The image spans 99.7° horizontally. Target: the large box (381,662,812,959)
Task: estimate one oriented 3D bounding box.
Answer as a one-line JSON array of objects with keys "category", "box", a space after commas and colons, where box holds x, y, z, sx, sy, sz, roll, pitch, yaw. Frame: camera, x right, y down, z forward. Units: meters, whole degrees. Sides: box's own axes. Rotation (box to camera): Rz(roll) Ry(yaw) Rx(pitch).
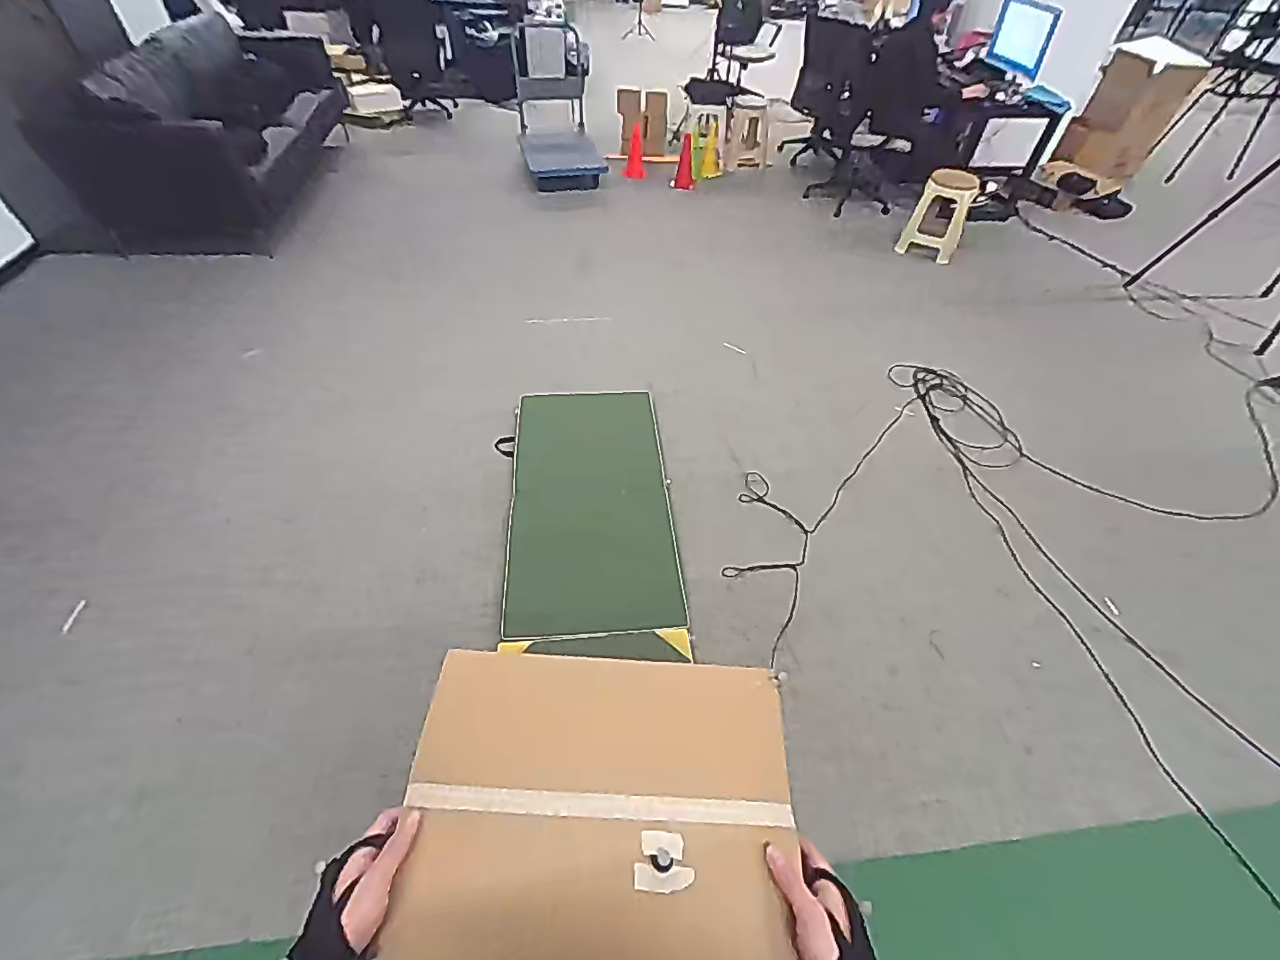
[{"category": "large box", "box": [-0.043, 0.447, 0.684, 0.408, 0.320, 0.320, 3, 50, 0]}]
